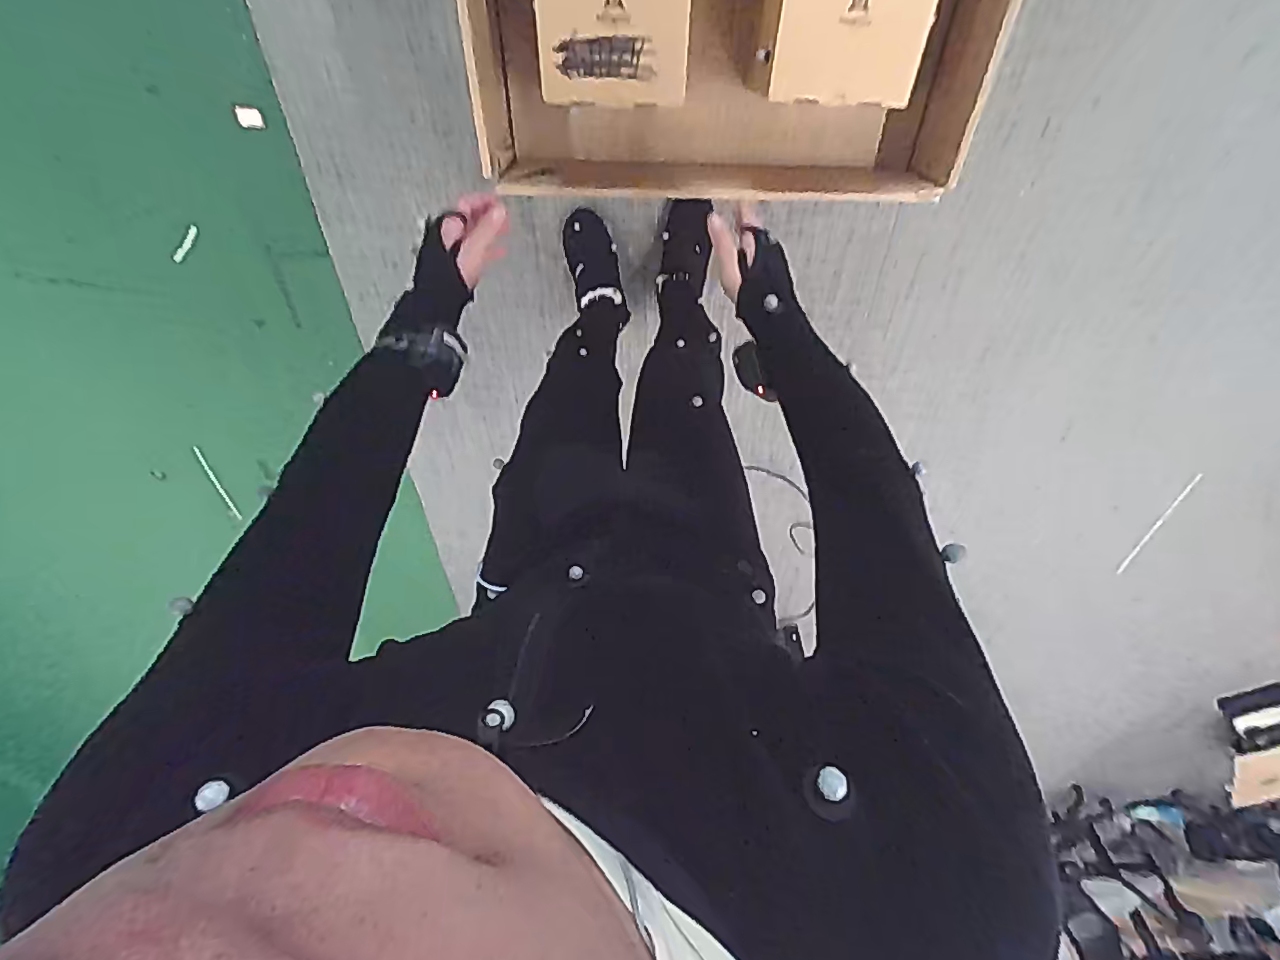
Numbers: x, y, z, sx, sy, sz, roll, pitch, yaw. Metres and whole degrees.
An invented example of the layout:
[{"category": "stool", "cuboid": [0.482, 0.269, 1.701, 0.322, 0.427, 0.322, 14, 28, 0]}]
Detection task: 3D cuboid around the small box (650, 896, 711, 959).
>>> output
[{"category": "small box", "cuboid": [0.120, 1.395, 1.657, 0.179, 0.176, 0.168, -1, 129, 2]}]
